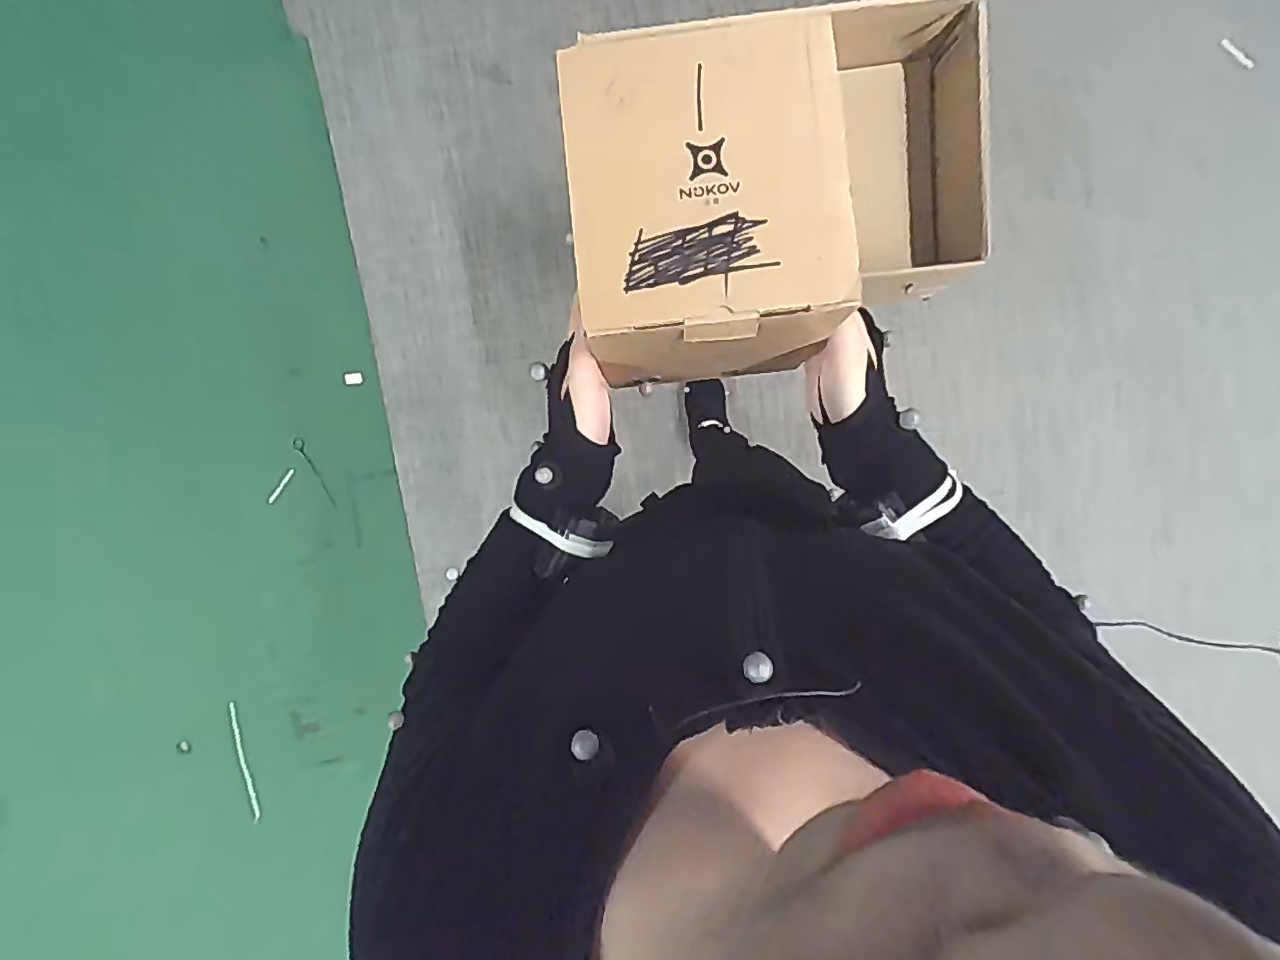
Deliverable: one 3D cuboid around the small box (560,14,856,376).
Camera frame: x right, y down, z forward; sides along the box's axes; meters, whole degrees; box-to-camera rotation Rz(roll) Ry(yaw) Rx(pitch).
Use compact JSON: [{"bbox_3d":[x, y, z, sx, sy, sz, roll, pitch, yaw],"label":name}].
[{"bbox_3d":[0.043,-0.181,0.402,0.168,0.176,0.179,-6,87,2],"label":"small box"}]
